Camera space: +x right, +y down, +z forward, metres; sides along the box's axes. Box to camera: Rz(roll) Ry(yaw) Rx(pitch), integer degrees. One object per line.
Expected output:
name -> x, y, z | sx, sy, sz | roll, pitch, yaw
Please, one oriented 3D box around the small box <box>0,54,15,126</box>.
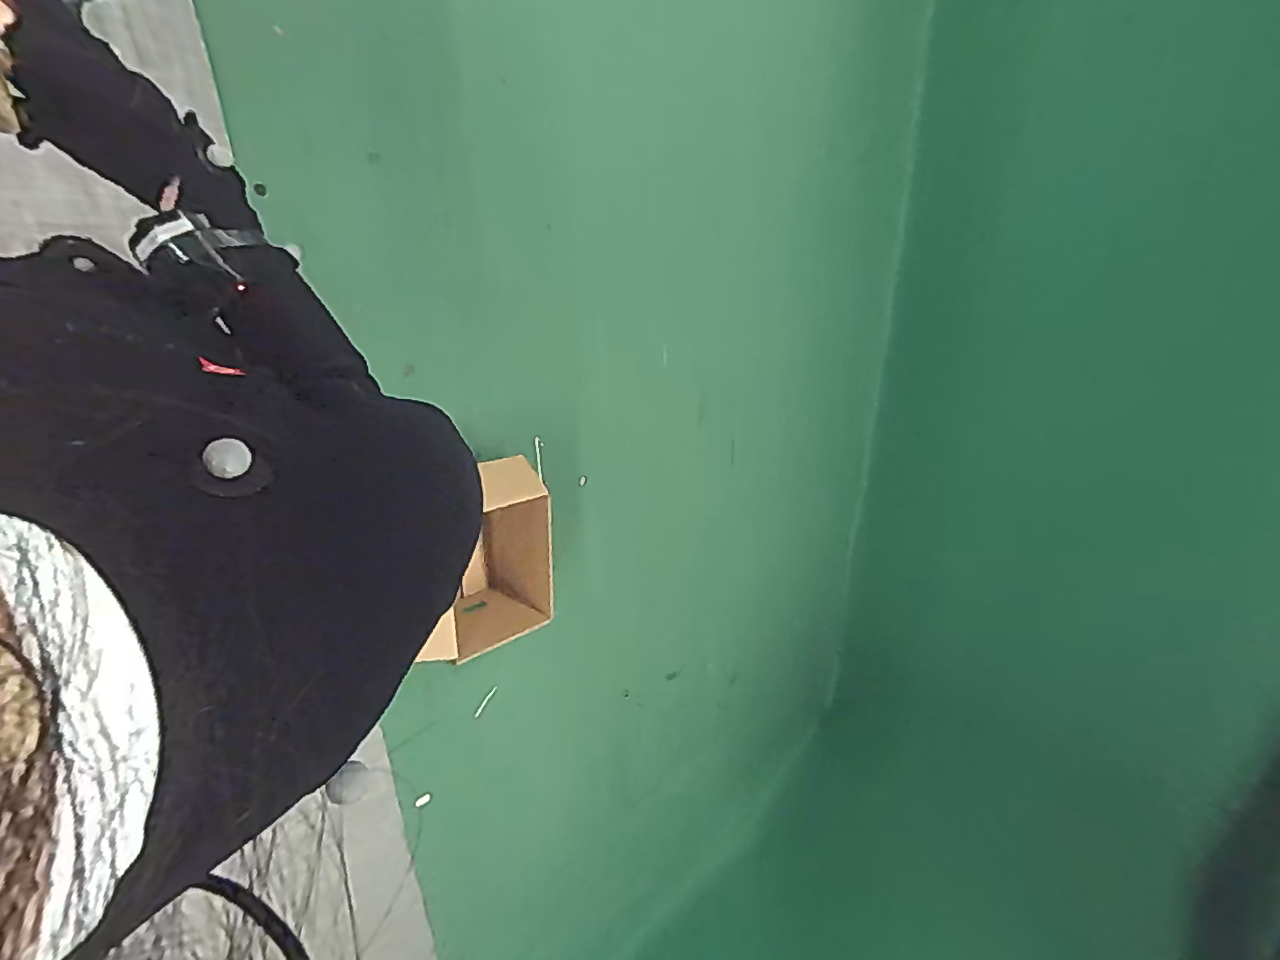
small box -> -0.432, -0.281, 0.240 | 0.168, 0.176, 0.179 | -17, 117, -40
